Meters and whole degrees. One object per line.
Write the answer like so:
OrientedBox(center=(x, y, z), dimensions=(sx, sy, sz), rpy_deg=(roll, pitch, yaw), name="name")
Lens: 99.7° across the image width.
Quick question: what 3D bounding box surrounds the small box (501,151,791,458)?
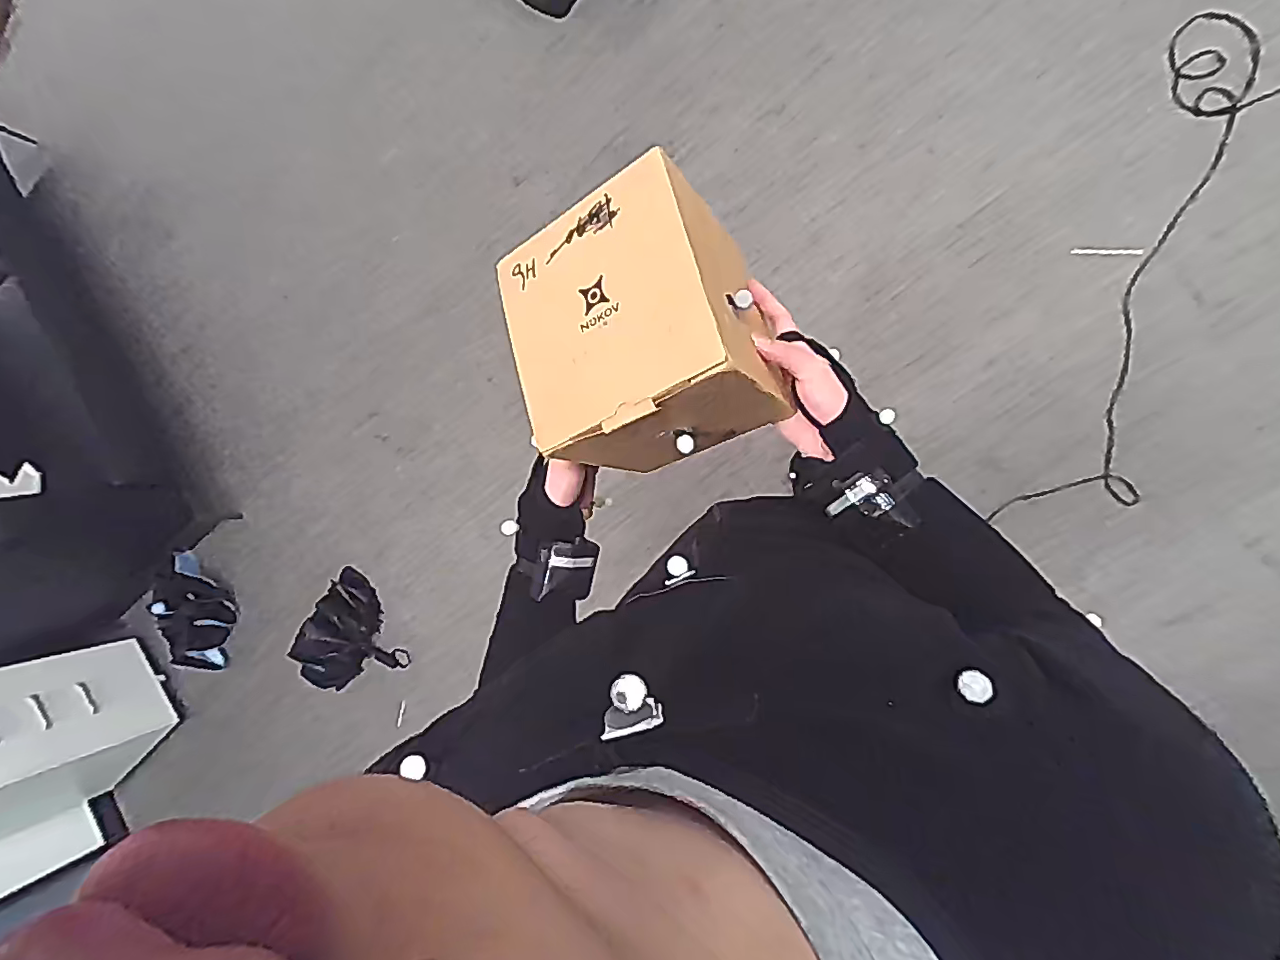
OrientedBox(center=(0.013, -0.124, 0.469), dimensions=(0.168, 0.176, 0.179), rpy_deg=(-22, 76, 27), name="small box")
